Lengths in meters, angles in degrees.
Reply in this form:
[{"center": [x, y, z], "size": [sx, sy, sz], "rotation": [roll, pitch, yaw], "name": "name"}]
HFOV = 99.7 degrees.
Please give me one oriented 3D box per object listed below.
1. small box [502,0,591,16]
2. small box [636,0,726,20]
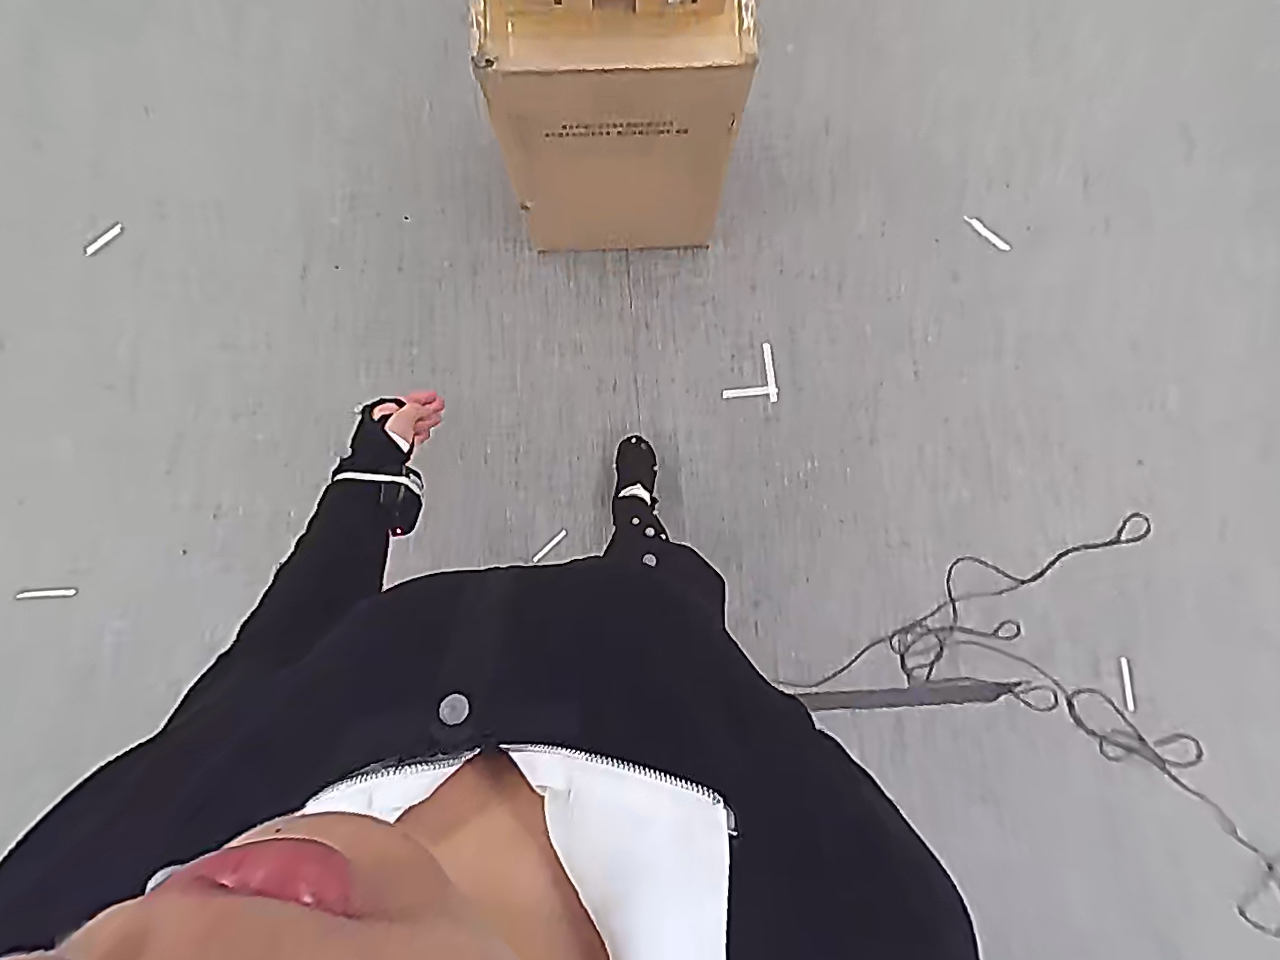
[{"center": [-0.172, -0.947, 0.921], "size": [0.168, 0.176, 0.179], "rotation": [-4, 84, -2], "name": "small box"}, {"center": [0.071, -0.945, 0.926], "size": [0.168, 0.176, 0.179], "rotation": [-3, 85, 1], "name": "small box"}]
